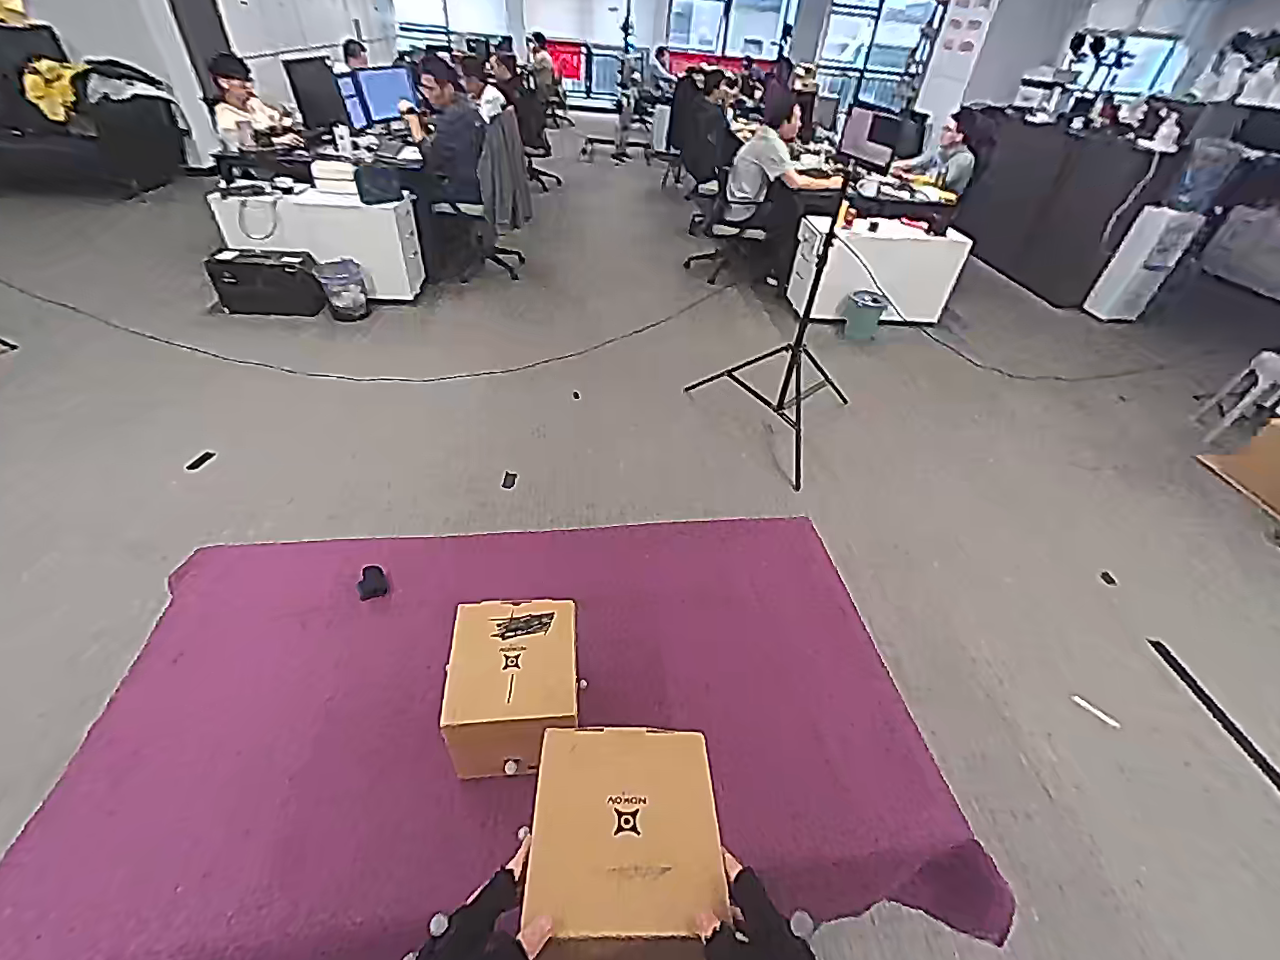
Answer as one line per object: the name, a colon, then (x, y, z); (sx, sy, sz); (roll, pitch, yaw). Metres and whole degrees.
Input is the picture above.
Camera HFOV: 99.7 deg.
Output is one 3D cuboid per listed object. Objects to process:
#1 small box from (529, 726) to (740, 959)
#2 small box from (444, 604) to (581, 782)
small box: (-0.014, 0.368, 0.519); (0.168, 0.176, 0.179); (3, 30, -5)
small box: (-0.170, 0.300, 0.770); (0.168, 0.176, 0.179); (-2, 41, -8)
